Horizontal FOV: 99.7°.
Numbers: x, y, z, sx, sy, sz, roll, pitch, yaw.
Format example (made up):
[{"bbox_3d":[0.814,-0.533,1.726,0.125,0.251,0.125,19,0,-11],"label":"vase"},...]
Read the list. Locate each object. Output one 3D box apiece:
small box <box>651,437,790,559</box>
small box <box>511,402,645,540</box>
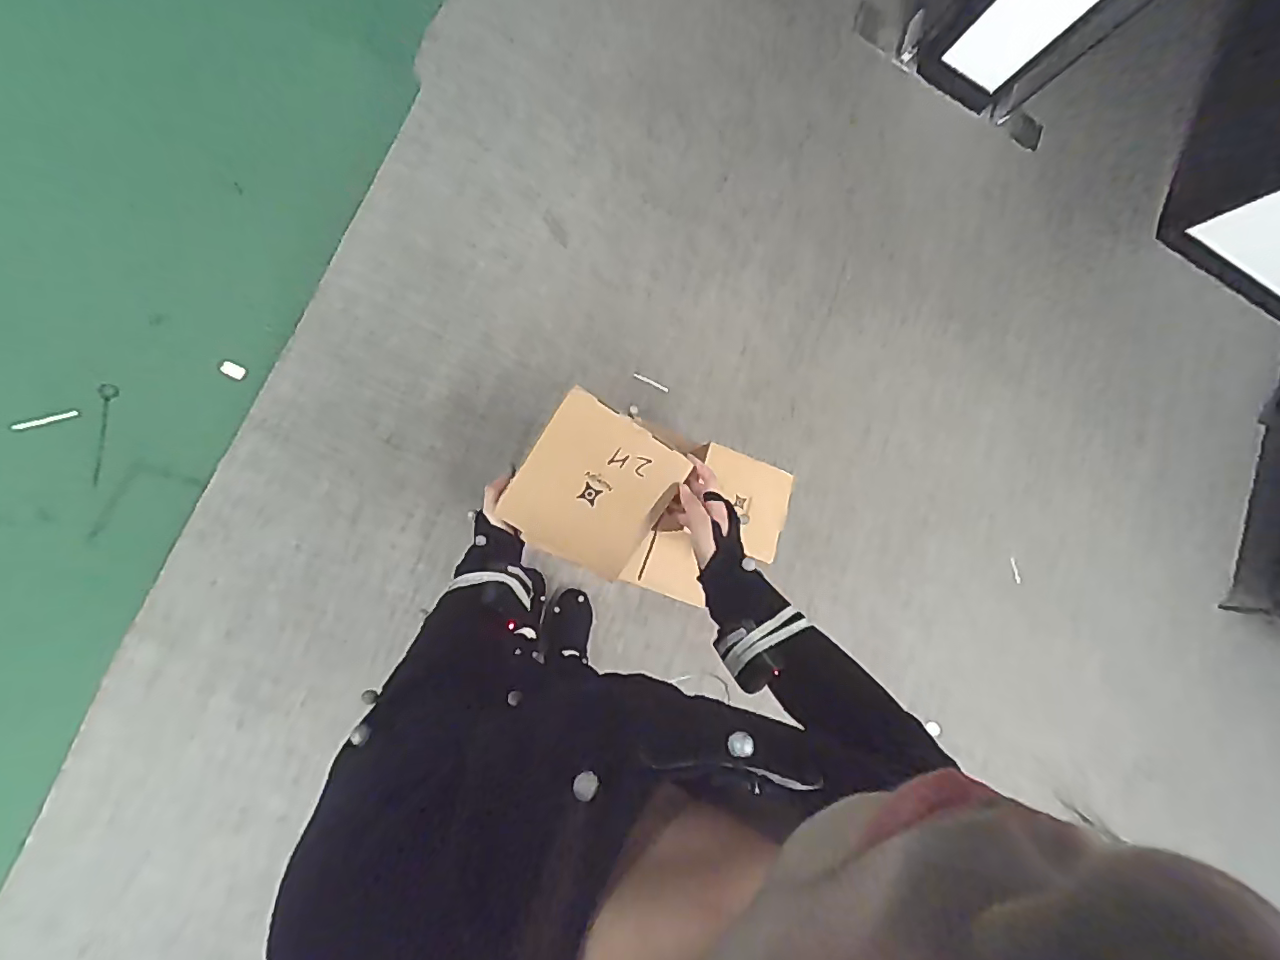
[{"bbox_3d":[0.143,0.037,1.008,0.179,0.176,0.168,22,80,-11],"label":"small box"},{"bbox_3d":[-0.114,-0.011,0.940,0.168,0.176,0.179,24,81,-14],"label":"small box"}]
